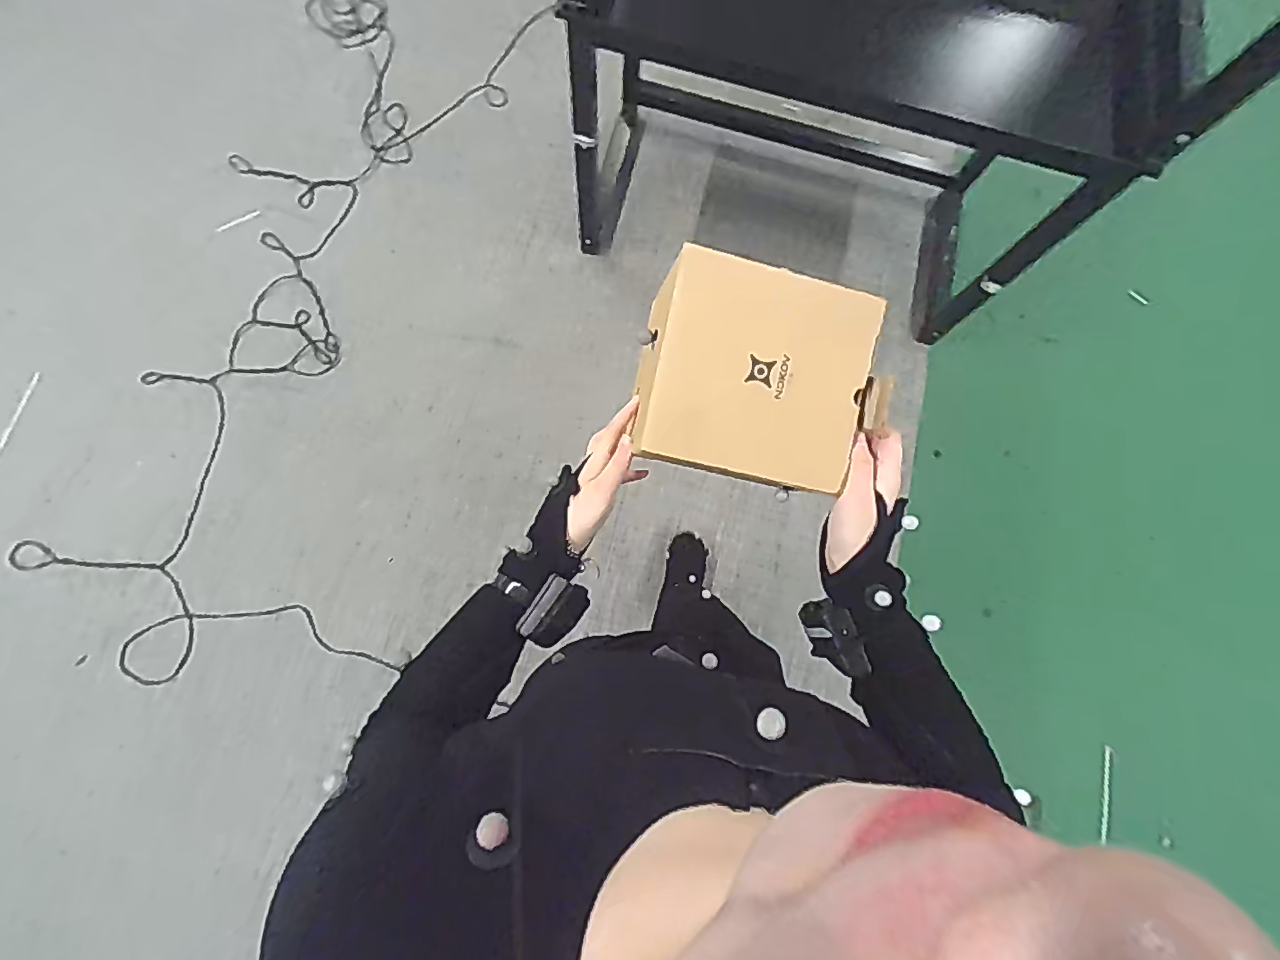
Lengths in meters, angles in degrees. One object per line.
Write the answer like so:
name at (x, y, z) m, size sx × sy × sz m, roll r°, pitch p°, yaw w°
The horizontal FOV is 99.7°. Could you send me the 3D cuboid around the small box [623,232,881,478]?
small box at (0.086, -0.099, 0.507) m, size 0.179 × 0.176 × 0.168 m, roll 11°, pitch 90°, yaw -8°
